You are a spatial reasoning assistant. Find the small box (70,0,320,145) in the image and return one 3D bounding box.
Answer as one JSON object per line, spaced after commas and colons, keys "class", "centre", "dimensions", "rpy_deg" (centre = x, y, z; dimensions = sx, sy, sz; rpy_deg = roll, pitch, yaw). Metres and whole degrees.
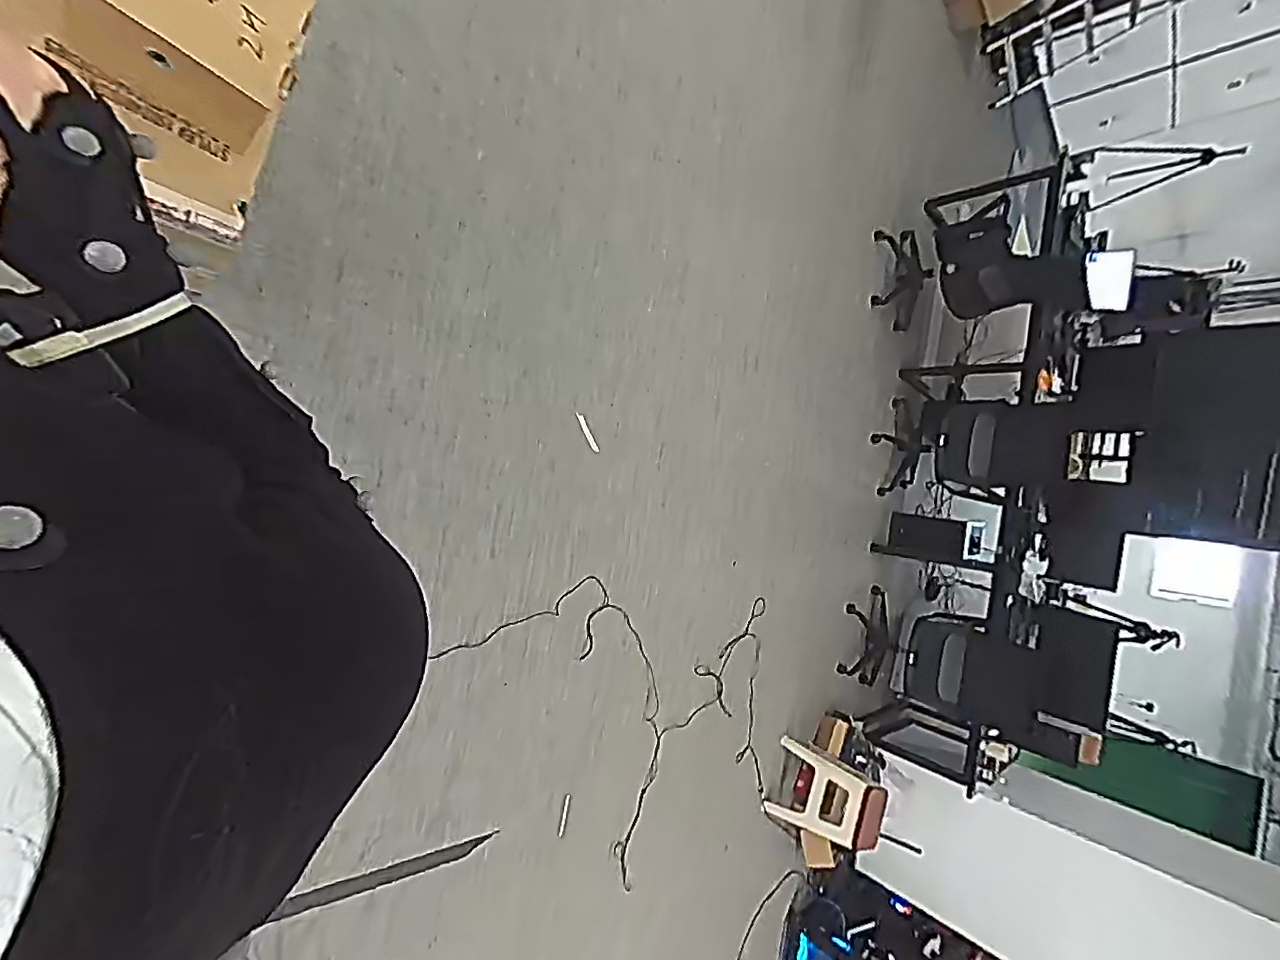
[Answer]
{"class": "small box", "centre": [-0.509, -0.530, 0.621], "dimensions": [0.179, 0.176, 0.168], "rpy_deg": [23, 81, -46]}
